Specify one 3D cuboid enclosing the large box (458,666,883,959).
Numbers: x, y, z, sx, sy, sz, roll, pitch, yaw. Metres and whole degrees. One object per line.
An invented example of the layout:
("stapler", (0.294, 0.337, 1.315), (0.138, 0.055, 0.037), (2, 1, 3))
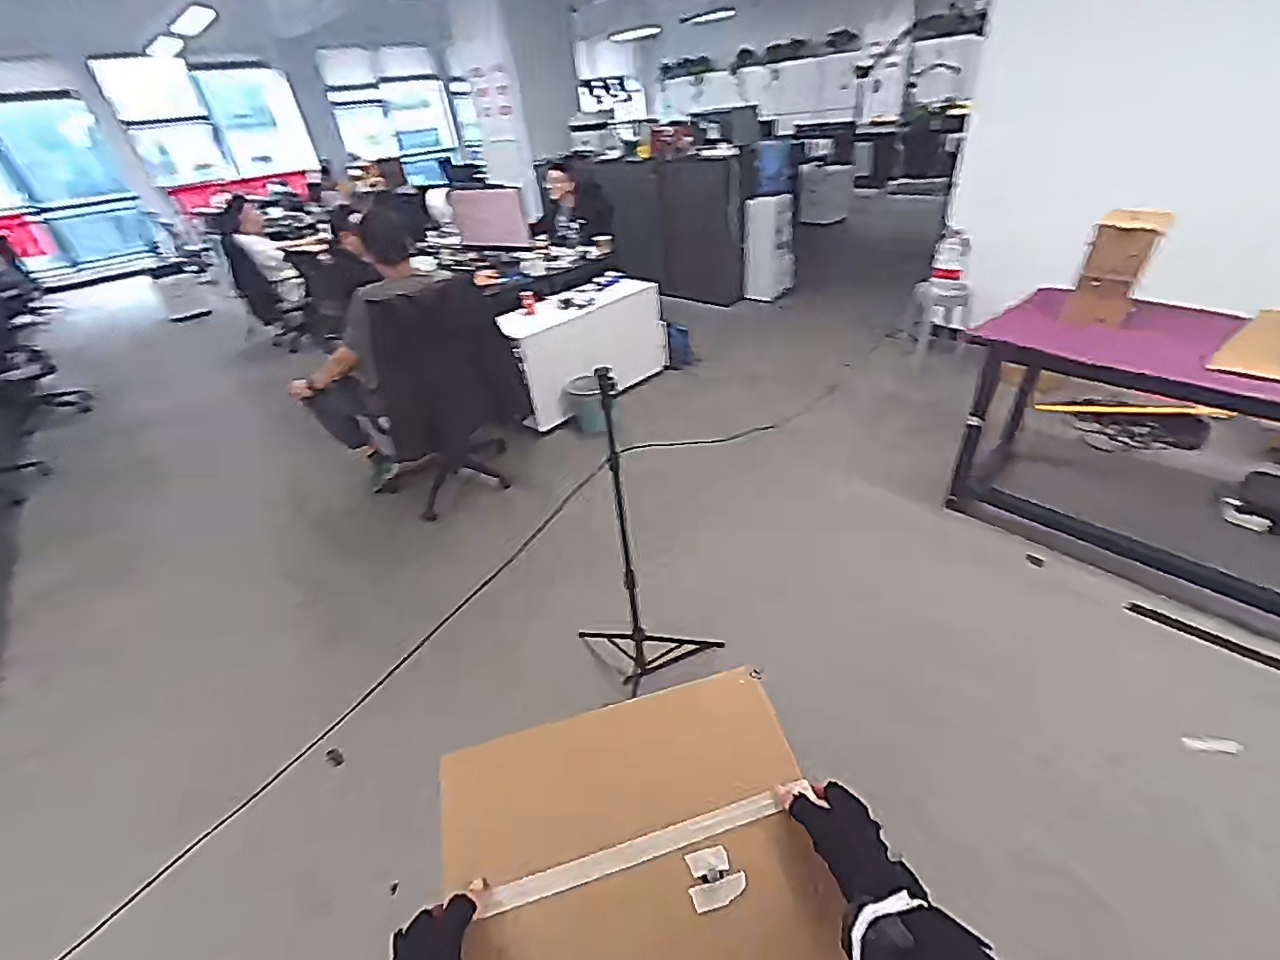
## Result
("large box", (0.010, 0.498, 0.692), (0.408, 0.320, 0.320), (-11, 46, -10))
